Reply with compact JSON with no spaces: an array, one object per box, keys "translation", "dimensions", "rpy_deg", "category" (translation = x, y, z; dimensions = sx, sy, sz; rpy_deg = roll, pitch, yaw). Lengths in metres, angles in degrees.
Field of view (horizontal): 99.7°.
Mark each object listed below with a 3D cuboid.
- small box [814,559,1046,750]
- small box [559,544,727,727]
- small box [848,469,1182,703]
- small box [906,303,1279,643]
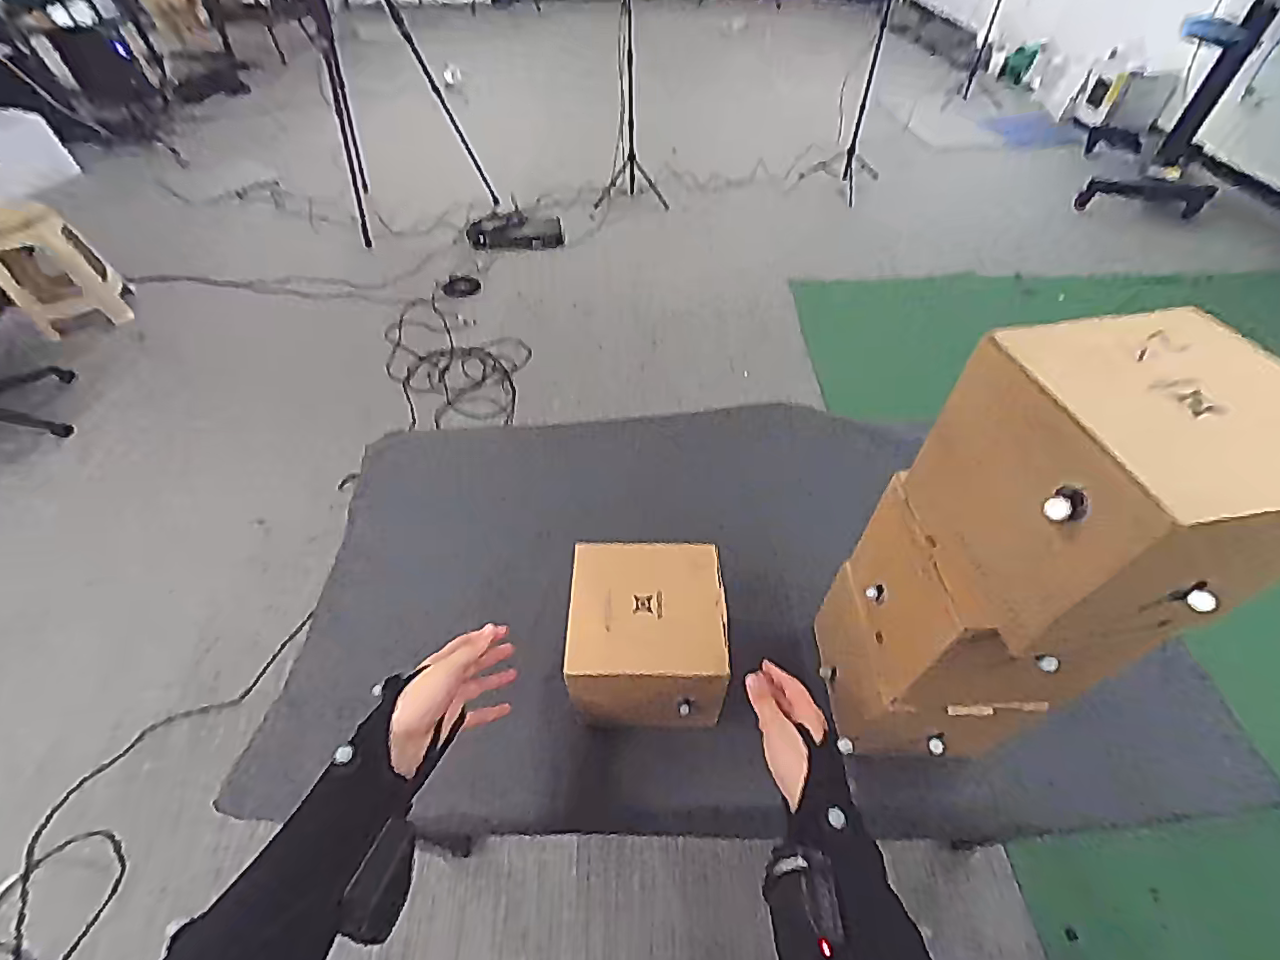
[{"translation":[0.319,0.211,0.642],"dimensions":[0.168,0.176,0.179],"rpy_deg":[-1,50,1],"category":"small box"},{"translation":[0.005,0.194,0.666],"dimensions":[0.179,0.176,0.168],"rpy_deg":[-1,48,1],"category":"small box"},{"translation":[0.325,0.103,0.519],"dimensions":[0.179,0.176,0.168],"rpy_deg":[-2,49,1],"category":"small box"},{"translation":[0.329,0.001,0.388],"dimensions":[0.168,0.176,0.179],"rpy_deg":[-8,49,-5],"category":"small box"}]
